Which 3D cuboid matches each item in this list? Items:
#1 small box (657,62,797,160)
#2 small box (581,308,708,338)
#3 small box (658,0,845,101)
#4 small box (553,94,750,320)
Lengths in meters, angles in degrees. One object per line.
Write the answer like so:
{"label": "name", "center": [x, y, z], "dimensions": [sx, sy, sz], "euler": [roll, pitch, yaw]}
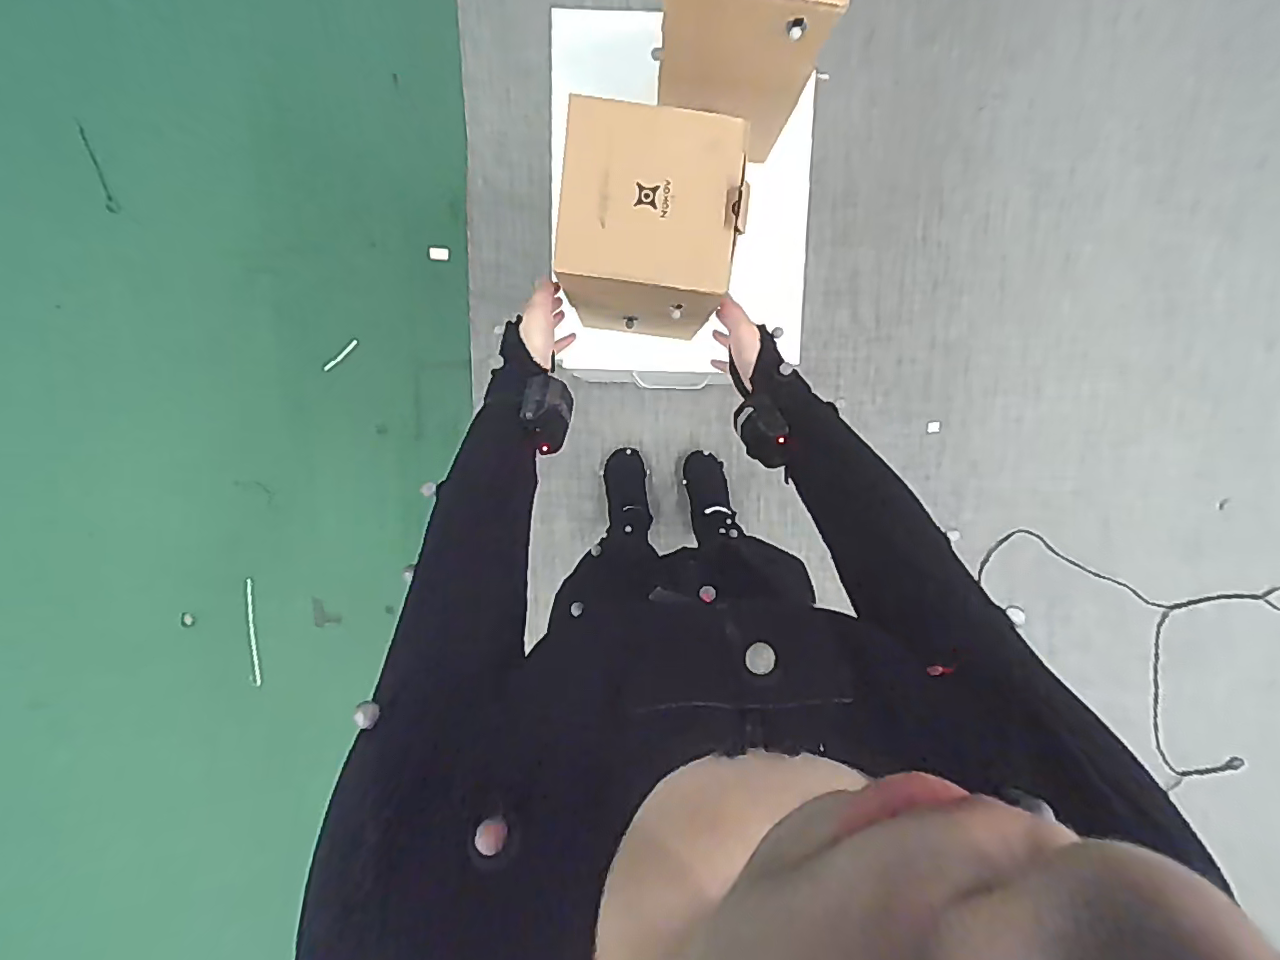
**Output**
{"label": "small box", "center": [0.118, -0.563, 0.731], "dimensions": [0.179, 0.176, 0.168], "euler": [8, 97, -1]}
{"label": "small box", "center": [0.008, -0.302, 0.760], "dimensions": [0.179, 0.176, 0.168], "euler": [7, 96, -3]}
{"label": "small box", "center": [0.116, -0.539, 0.570], "dimensions": [0.179, 0.176, 0.168], "euler": [7, 97, -2]}
{"label": "small box", "center": [0.009, -0.281, 0.599], "dimensions": [0.179, 0.176, 0.168], "euler": [6, 95, -1]}
